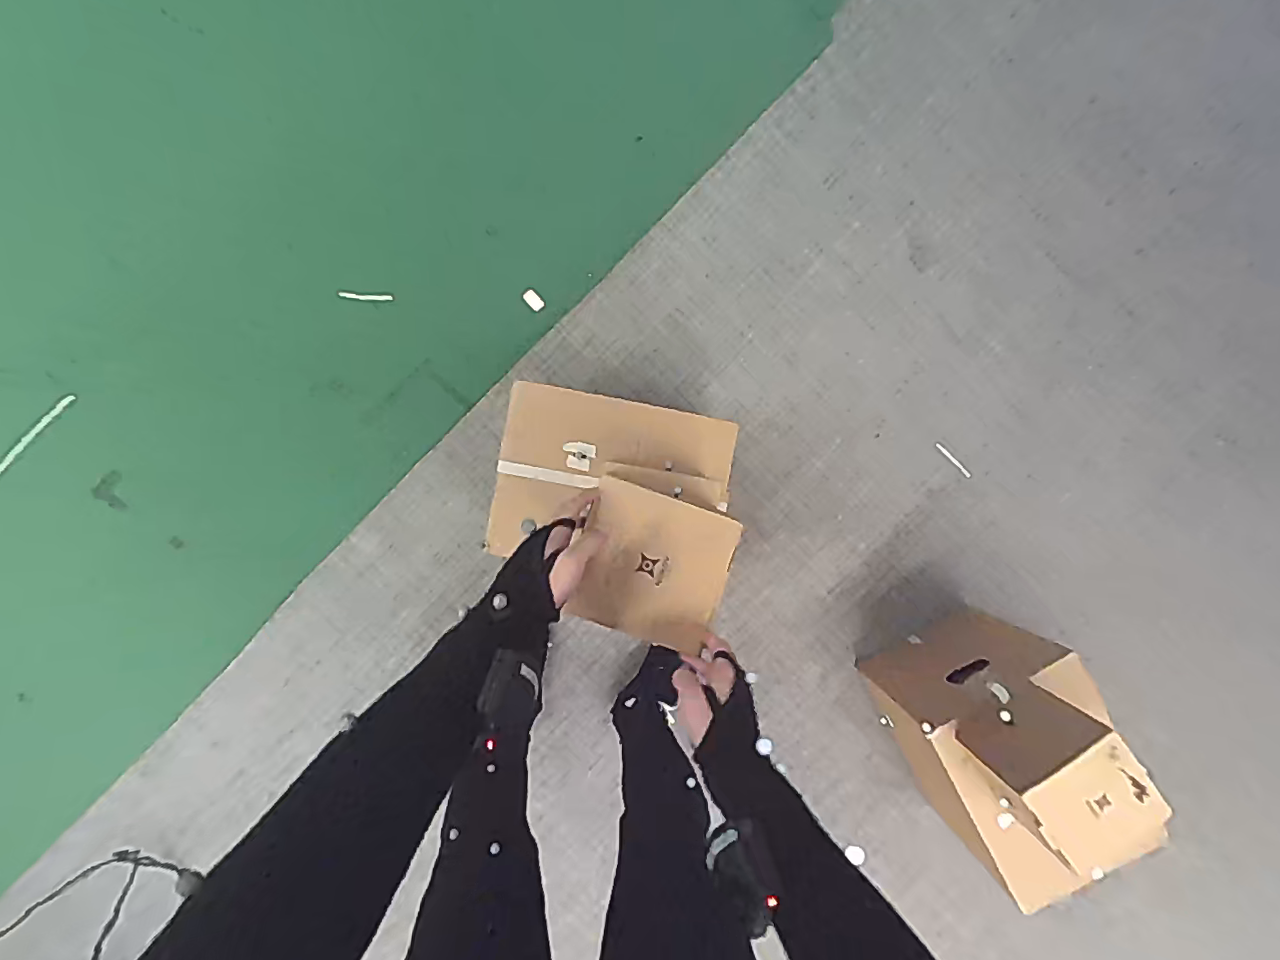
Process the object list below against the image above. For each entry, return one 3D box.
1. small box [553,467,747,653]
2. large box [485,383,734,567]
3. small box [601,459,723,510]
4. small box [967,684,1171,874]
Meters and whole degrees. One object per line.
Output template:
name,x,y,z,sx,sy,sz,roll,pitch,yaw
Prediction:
small box,0.009,0.088,0.692,0.179,0.176,0.168,24,90,-3
large box,-0.053,0.007,1.098,0.408,0.320,0.320,11,90,-1
small box,0.018,0.060,0.855,0.179,0.176,0.168,10,92,-2
small box,0.680,0.477,0.888,0.179,0.176,0.168,-35,93,1
